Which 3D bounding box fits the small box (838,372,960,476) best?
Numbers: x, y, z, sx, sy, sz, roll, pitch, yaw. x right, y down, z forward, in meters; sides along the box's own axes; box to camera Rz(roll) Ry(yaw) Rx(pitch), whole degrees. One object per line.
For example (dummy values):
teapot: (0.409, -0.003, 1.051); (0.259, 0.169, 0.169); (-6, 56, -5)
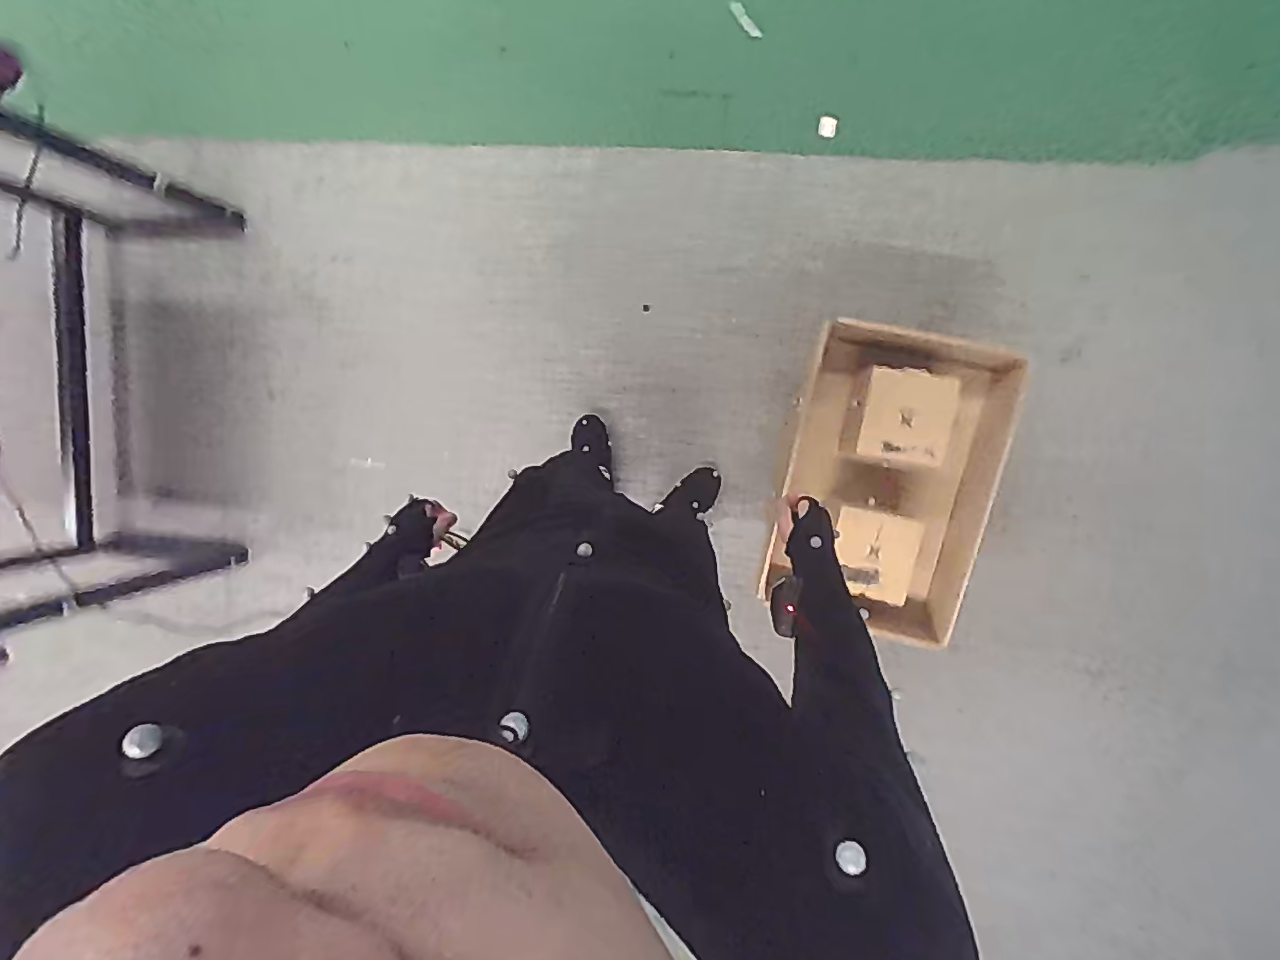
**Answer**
small box: (0.525, -0.114, 1.120); (0.168, 0.176, 0.179); (11, 96, 7)
